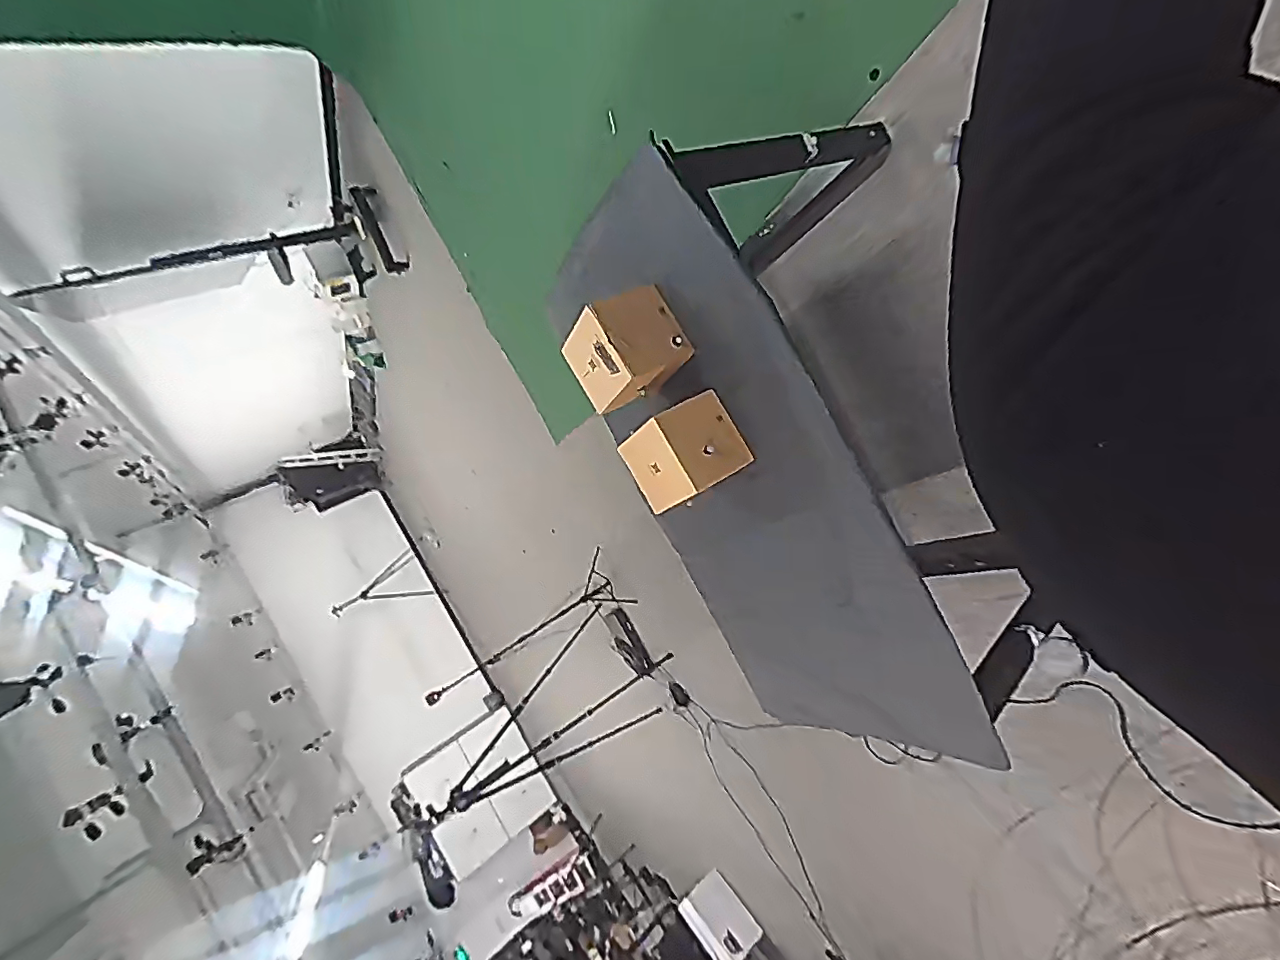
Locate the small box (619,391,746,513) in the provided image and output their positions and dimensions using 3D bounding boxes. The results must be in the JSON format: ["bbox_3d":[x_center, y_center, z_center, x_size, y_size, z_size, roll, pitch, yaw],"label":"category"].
[{"bbox_3d":[0.091,-0.059,1.105,0.168,0.176,0.179,59,150,3],"label":"small box"}]

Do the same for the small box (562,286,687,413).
[{"bbox_3d":[-0.028,-0.267,1.106,0.168,0.176,0.179,59,150,3],"label":"small box"}]
